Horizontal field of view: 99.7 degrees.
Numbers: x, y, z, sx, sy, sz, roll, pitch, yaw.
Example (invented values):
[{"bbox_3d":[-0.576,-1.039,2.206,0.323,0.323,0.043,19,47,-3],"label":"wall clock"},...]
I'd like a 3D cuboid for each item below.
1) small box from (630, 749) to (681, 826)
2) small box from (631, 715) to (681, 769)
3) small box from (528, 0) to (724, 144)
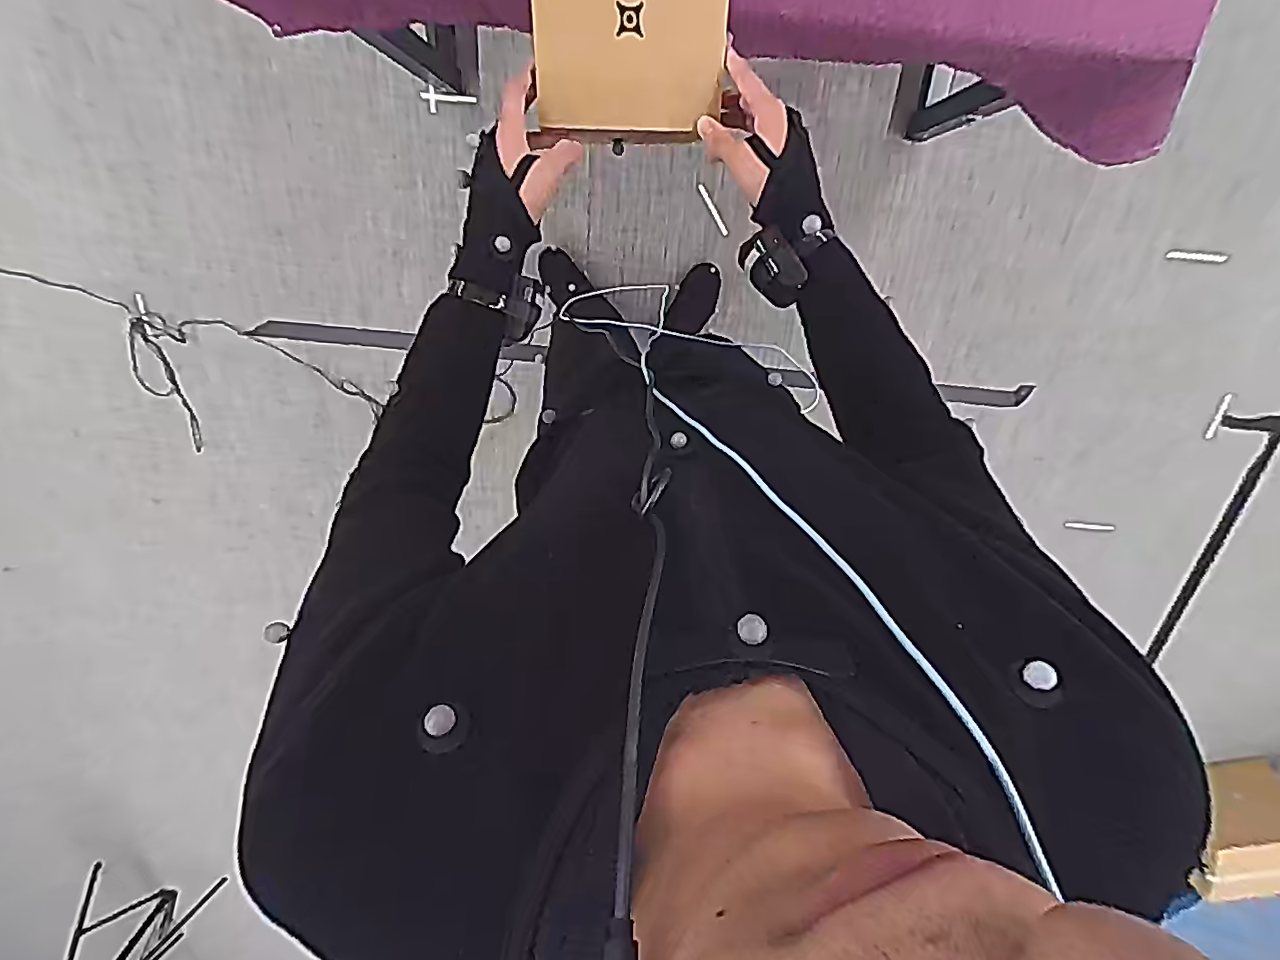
[{"bbox_3d":[0.052,1.097,1.932,0.168,0.176,0.179,3,113,-1],"label":"small box"},{"bbox_3d":[0.059,1.029,2.081,0.179,0.176,0.168,3,113,-1],"label":"small box"},{"bbox_3d":[-0.018,-0.430,0.517,0.168,0.176,0.179,-2,118,-7],"label":"small box"}]
